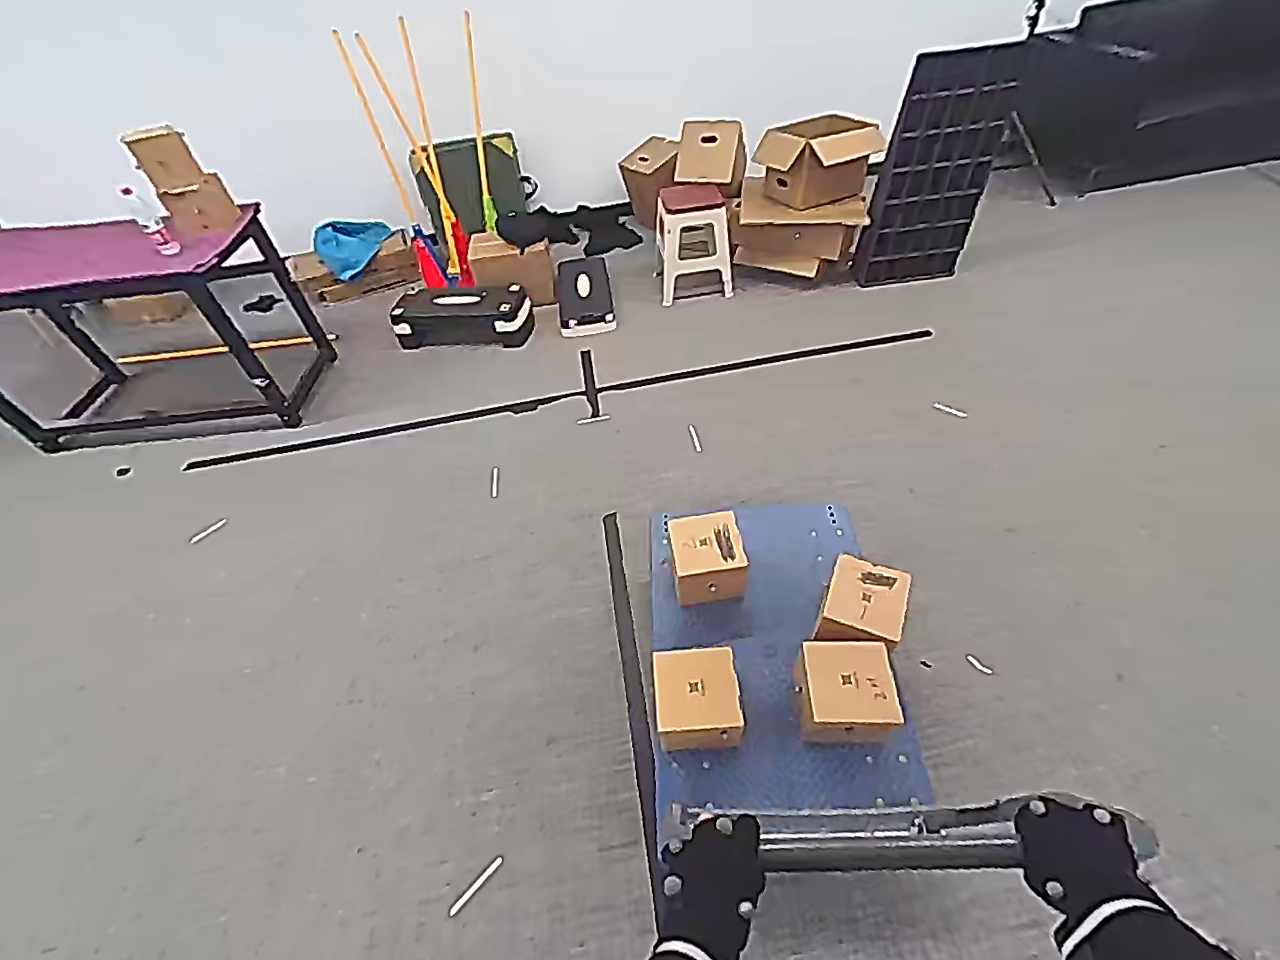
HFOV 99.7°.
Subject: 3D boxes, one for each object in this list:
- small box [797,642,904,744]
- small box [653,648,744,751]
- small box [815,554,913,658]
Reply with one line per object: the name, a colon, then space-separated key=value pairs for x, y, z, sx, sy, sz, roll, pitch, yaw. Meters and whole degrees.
small box: x=0.441 y=0.463 z=1.169 sx=0.179 sy=0.176 sz=0.168 roll=-1 pitch=52 yaw=6
small box: x=0.125 y=0.486 z=1.190 sx=0.179 sy=0.176 sz=0.168 roll=-5 pitch=51 yaw=1
small box: x=0.524 y=0.311 z=1.281 sx=0.168 sy=0.176 sz=0.179 roll=17 pitch=56 yaw=19
